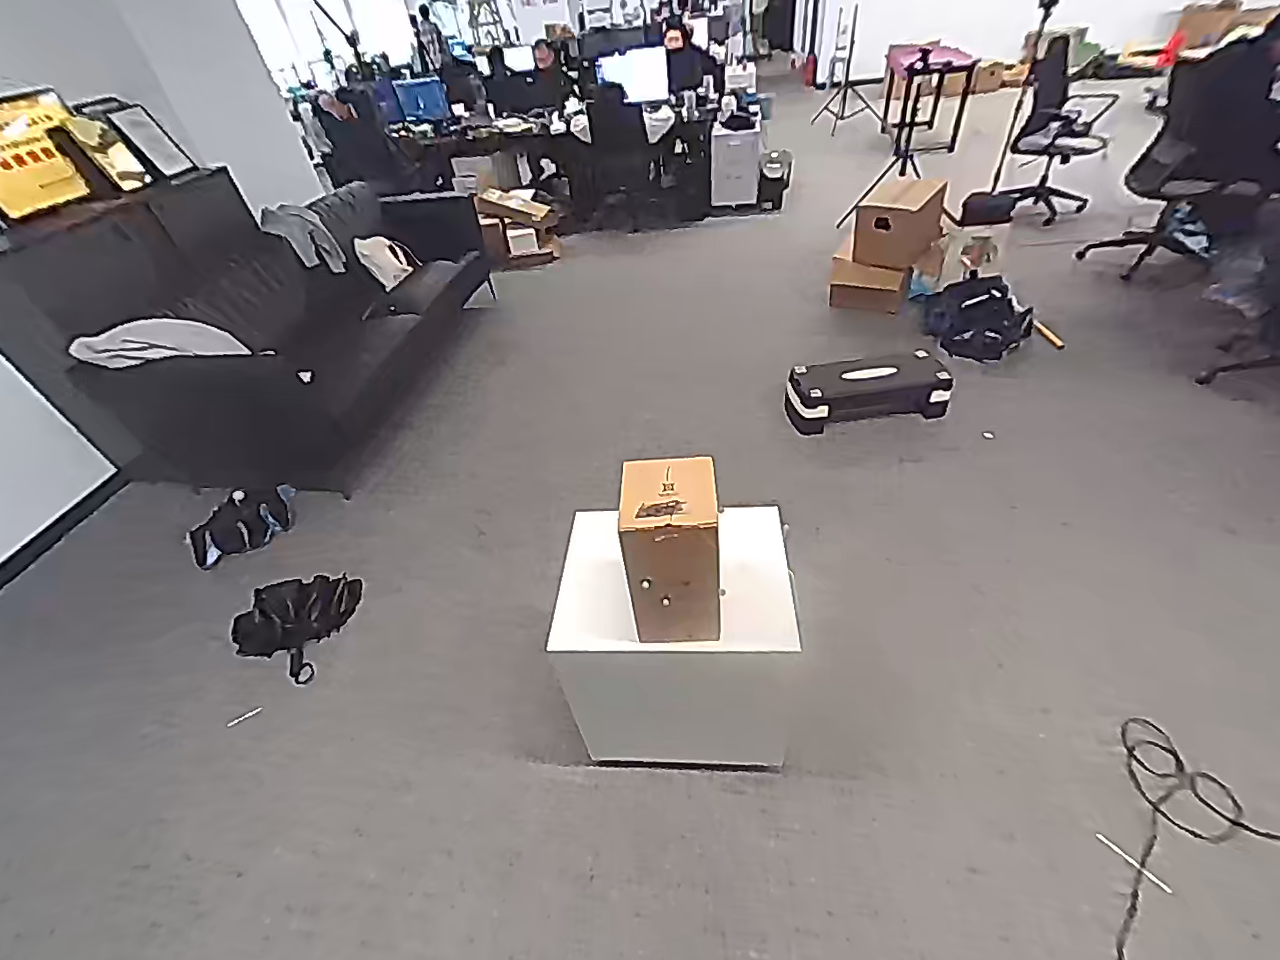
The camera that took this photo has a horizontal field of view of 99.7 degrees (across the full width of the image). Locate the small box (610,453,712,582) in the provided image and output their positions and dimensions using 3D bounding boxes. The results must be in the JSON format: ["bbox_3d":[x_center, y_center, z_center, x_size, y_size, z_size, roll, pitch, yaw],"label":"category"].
[{"bbox_3d":[0.043,0.073,0.987,0.168,0.176,0.179,-4,40,4],"label":"small box"}]

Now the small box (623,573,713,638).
[{"bbox_3d":[0.059,0.197,1.095,0.168,0.176,0.179,-5,40,4],"label":"small box"}]
